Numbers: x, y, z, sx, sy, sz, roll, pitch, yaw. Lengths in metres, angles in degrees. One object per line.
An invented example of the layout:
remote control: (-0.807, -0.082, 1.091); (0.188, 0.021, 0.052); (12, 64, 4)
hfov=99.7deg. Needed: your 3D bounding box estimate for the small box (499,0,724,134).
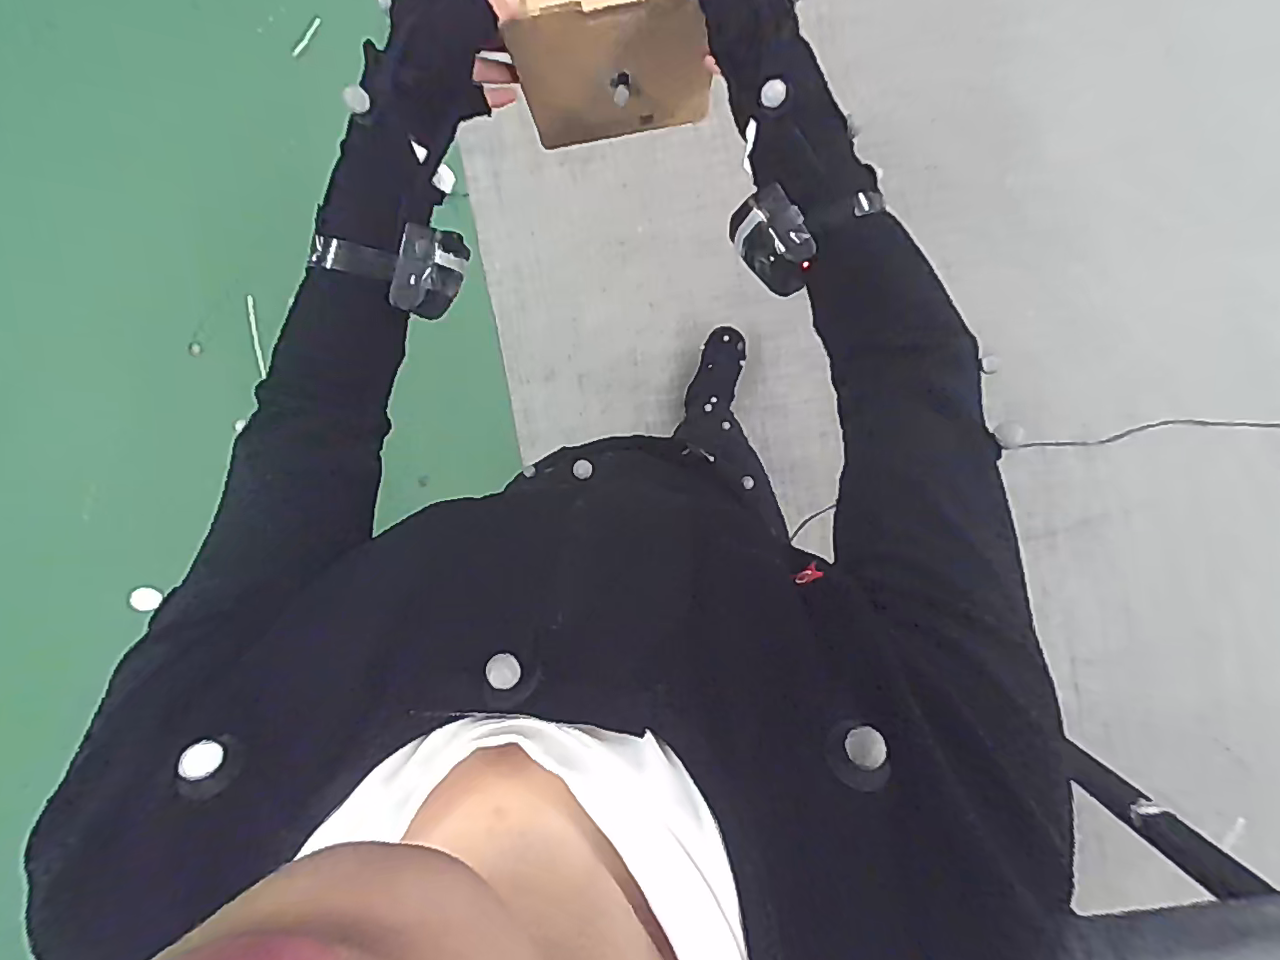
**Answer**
small box: (-0.026, -0.420, 0.447); (0.168, 0.176, 0.179); (-9, 92, 1)
